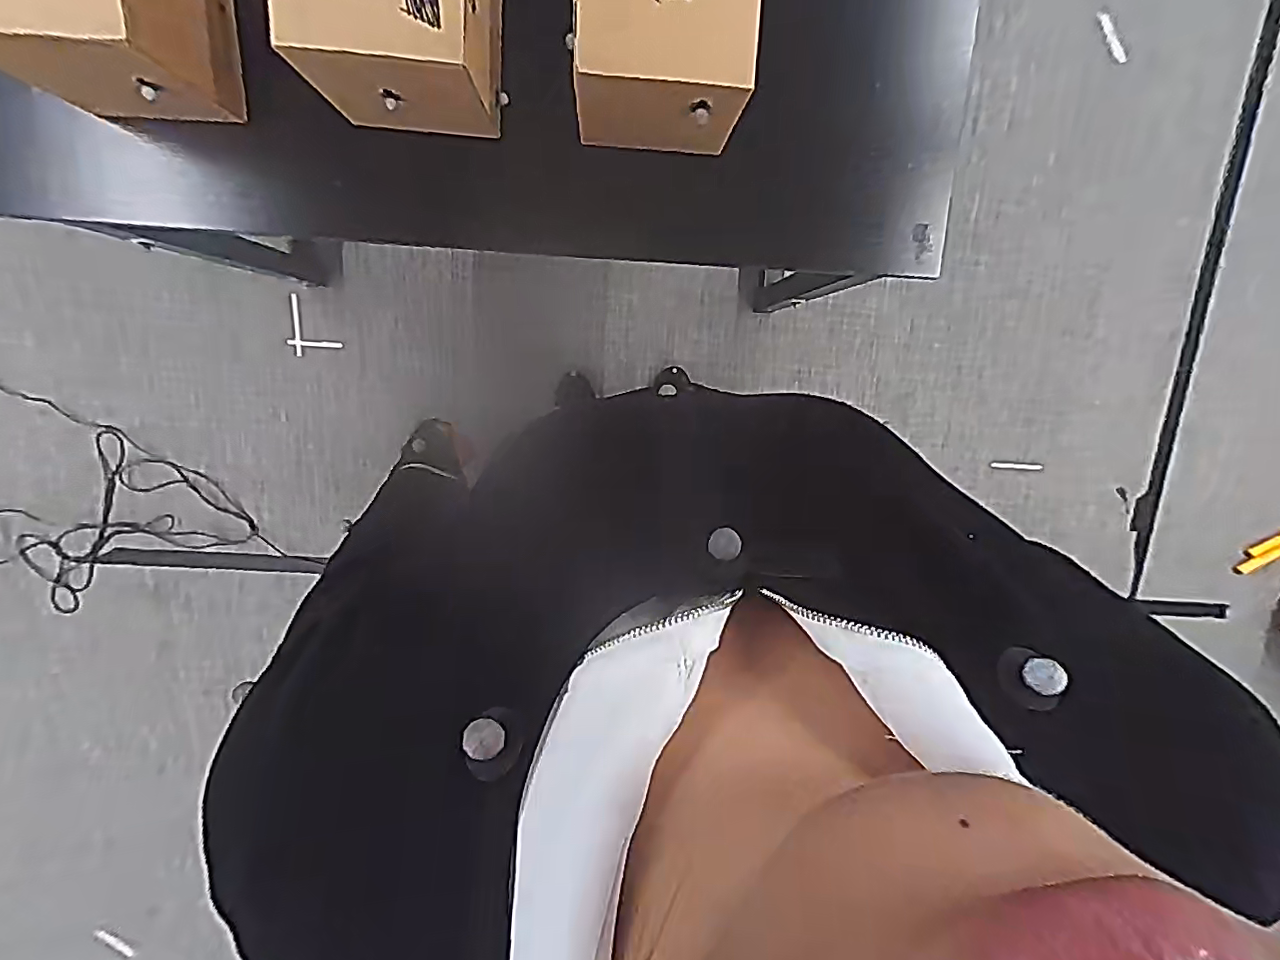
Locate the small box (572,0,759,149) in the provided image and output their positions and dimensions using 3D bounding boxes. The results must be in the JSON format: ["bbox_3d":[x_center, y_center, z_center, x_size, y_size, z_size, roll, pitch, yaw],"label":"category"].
[{"bbox_3d":[0.021,-0.477,0.577,0.179,0.176,0.168,2,101,-4],"label":"small box"}]

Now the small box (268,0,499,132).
[{"bbox_3d":[-0.248,-0.486,0.558,0.179,0.176,0.168,3,101,-3],"label":"small box"}]

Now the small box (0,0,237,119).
[{"bbox_3d":[-0.543,-0.488,0.540,0.179,0.176,0.168,0,101,-3],"label":"small box"}]
